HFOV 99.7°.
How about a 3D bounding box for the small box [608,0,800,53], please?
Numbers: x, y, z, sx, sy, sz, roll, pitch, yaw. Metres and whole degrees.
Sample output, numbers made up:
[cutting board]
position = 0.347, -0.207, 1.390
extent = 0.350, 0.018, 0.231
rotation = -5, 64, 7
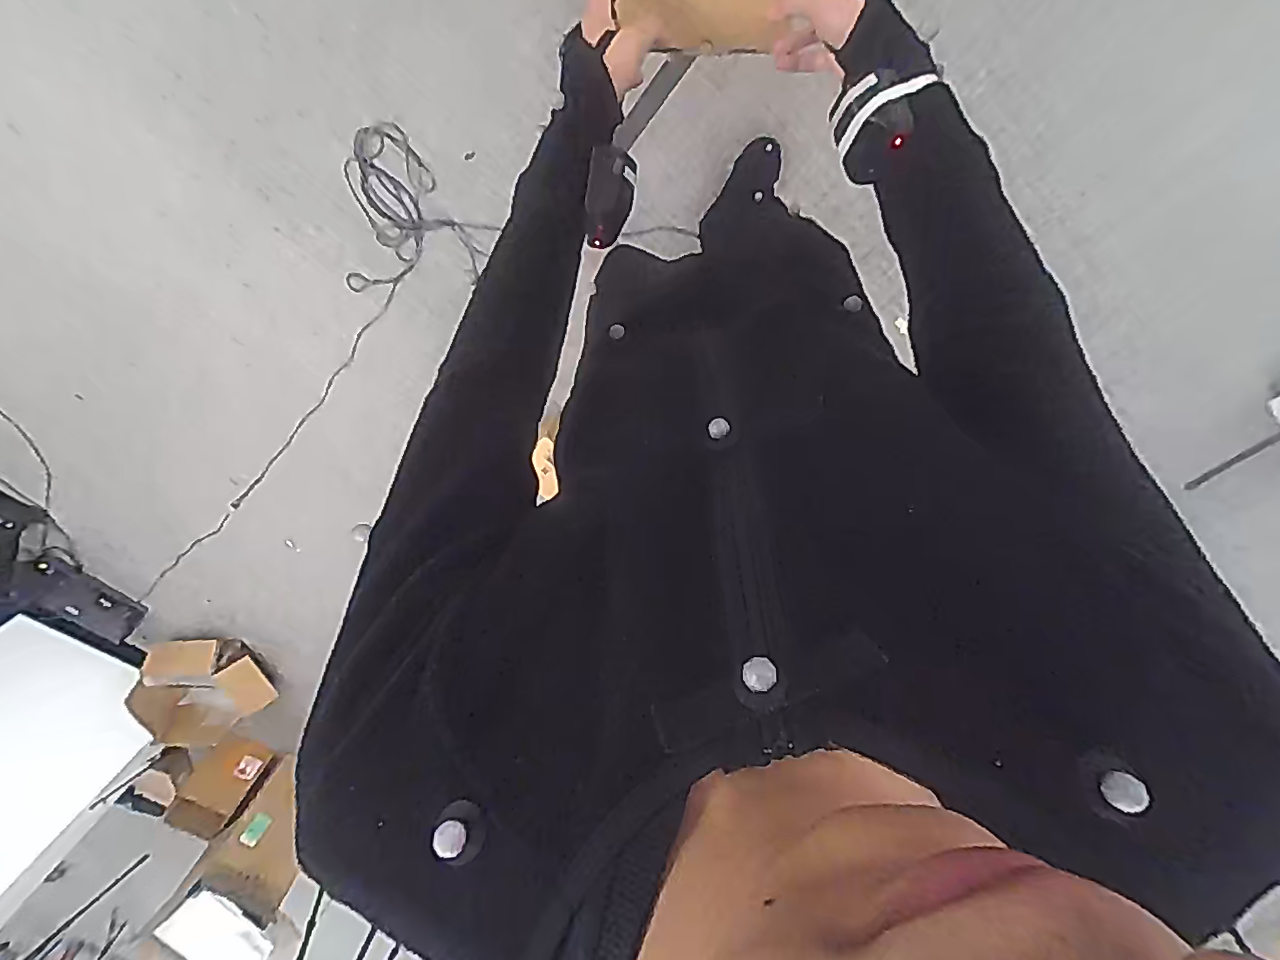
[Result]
[small box]
position = 0.056, -0.521, 0.514
extent = 0.168, 0.176, 0.179
rotation = -4, 131, -6
